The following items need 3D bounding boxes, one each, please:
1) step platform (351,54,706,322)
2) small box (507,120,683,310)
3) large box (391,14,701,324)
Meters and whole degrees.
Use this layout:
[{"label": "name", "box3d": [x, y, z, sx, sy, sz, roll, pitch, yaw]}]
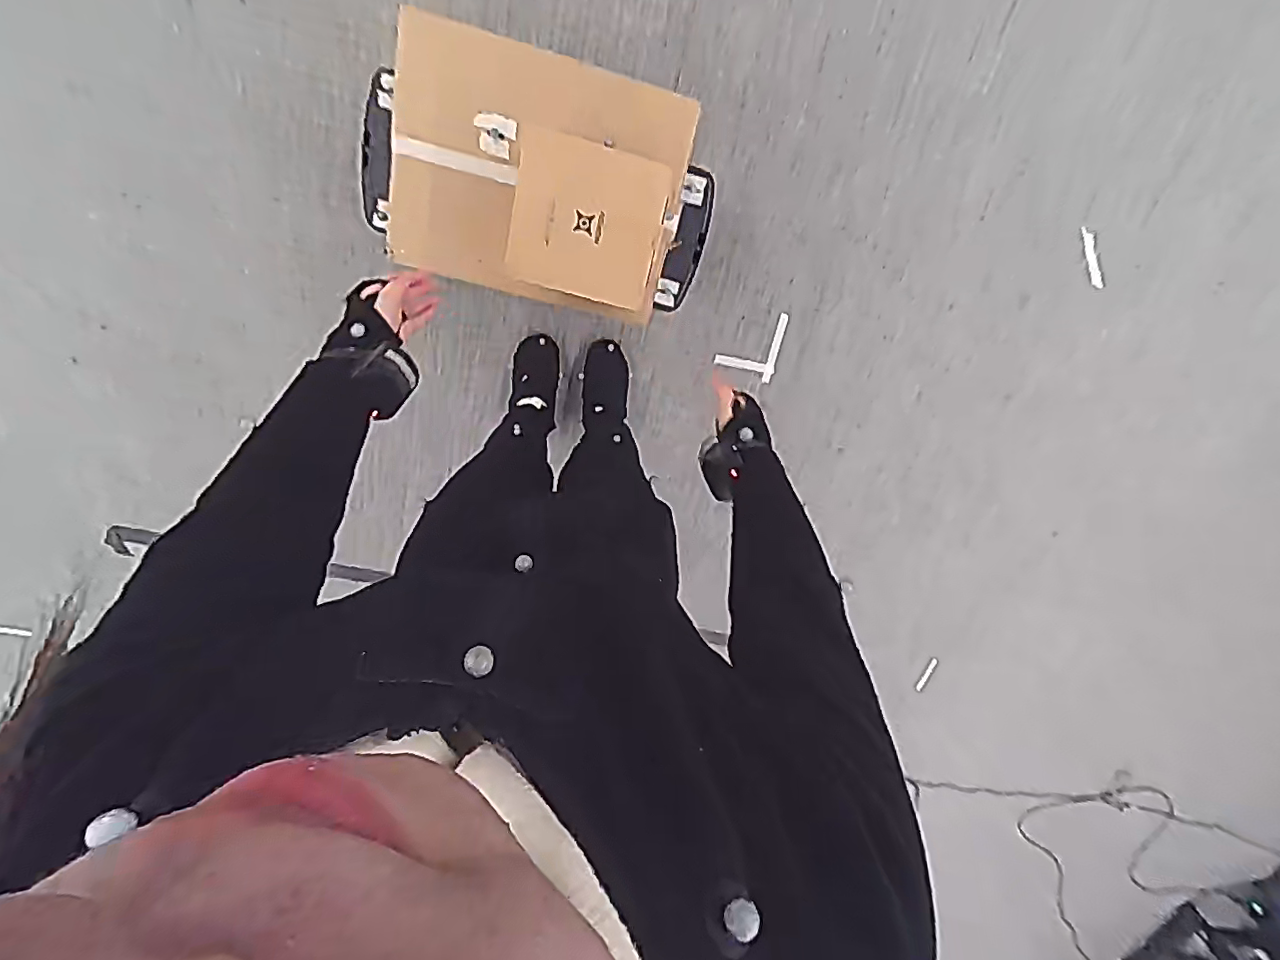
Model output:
[{"label": "step platform", "box3d": [-0.212, -0.572, 1.116, 0.684, 0.204, 0.286, 18, 112, -10]}, {"label": "small box", "box3d": [-0.058, -0.335, 0.699, 0.179, 0.176, 0.168, 13, 114, -8]}, {"label": "large box", "box3d": [-0.144, -0.479, 0.900, 0.408, 0.320, 0.320, 12, 113, -7]}]
